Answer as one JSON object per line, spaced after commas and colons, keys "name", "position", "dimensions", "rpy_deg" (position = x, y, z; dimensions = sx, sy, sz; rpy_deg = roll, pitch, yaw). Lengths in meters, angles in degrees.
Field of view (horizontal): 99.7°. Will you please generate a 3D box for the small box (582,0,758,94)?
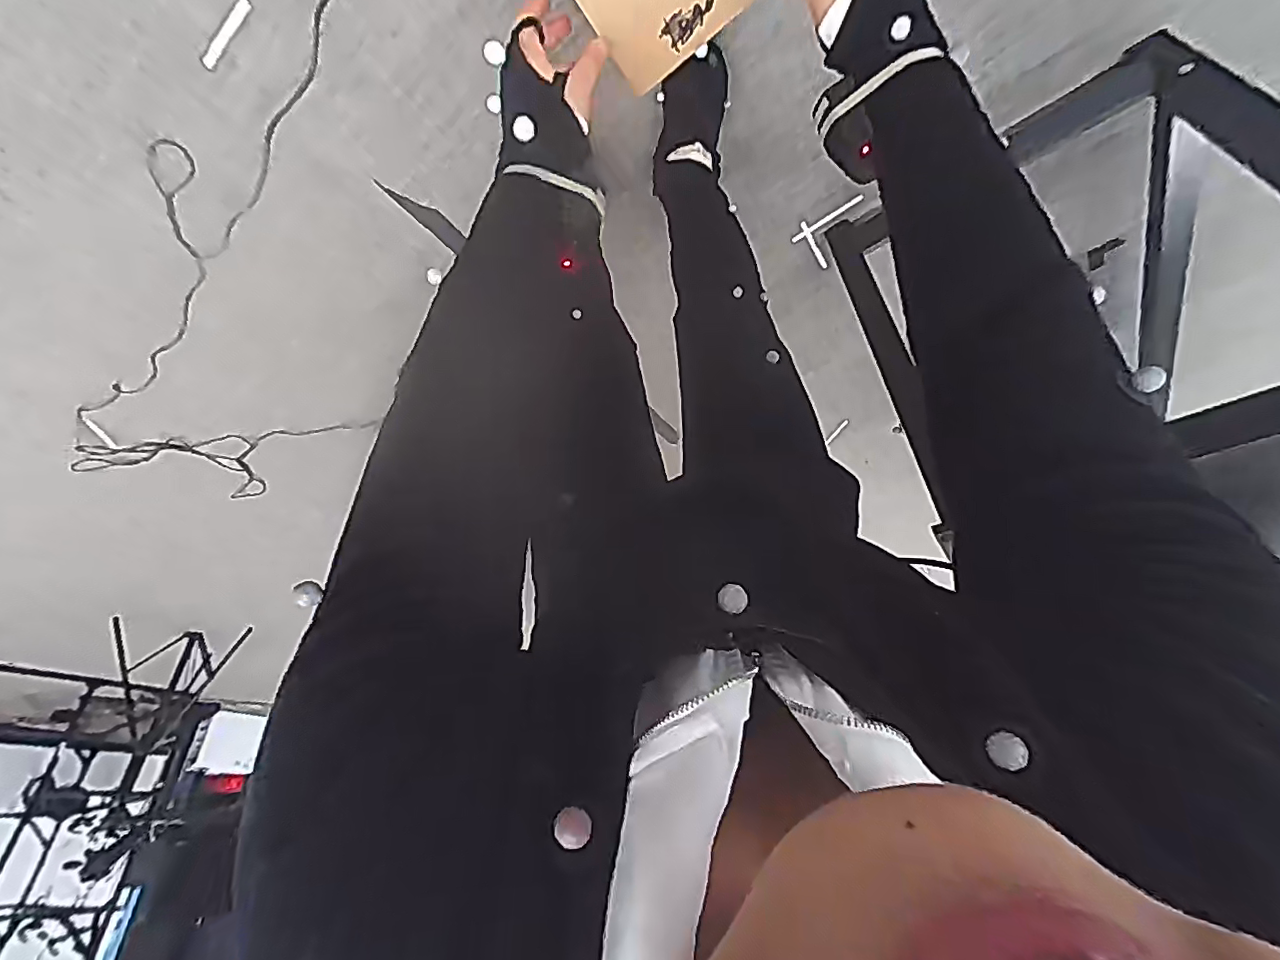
{"name": "small box", "position": [0.014, -0.489, 0.455], "dimensions": [0.168, 0.176, 0.179], "rpy_deg": [-24, 140, 28]}
